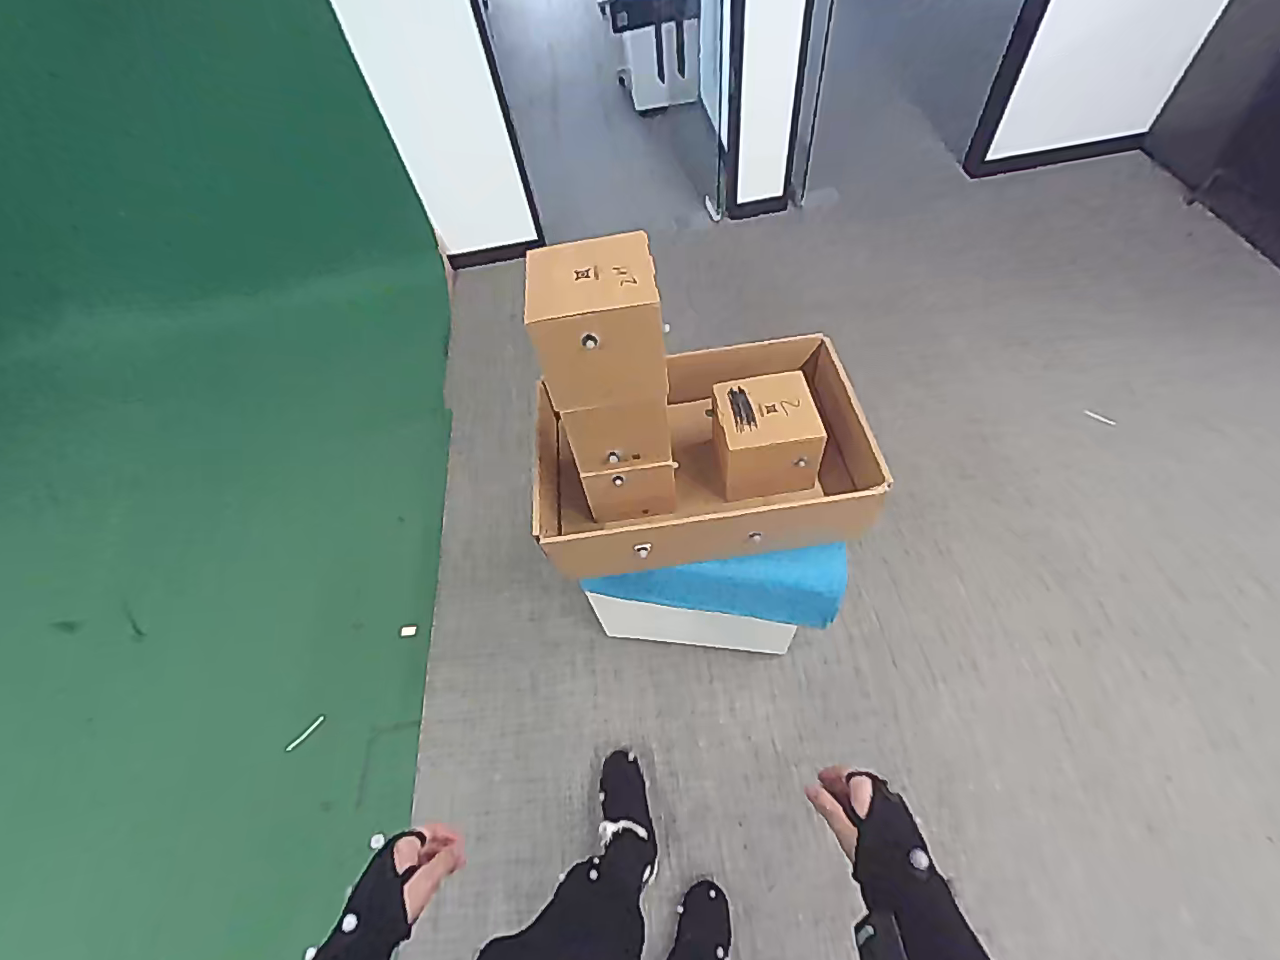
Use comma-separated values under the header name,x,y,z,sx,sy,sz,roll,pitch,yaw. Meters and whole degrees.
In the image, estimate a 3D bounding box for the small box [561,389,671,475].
name,x,y,z,sx,sy,sz,roll,pitch,yaw
small box,-0.040,-0.133,0.923,0.168,0.176,0.179,-8,55,1

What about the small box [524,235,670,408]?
name,x,y,z,sx,sy,sz,roll,pitch,yaw
small box,-0.057,-0.223,0.787,0.179,0.176,0.168,-8,55,2

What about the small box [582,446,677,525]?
name,x,y,z,sx,sy,sz,roll,pitch,yaw
small box,-0.021,-0.036,1.053,0.168,0.176,0.179,-8,54,2
